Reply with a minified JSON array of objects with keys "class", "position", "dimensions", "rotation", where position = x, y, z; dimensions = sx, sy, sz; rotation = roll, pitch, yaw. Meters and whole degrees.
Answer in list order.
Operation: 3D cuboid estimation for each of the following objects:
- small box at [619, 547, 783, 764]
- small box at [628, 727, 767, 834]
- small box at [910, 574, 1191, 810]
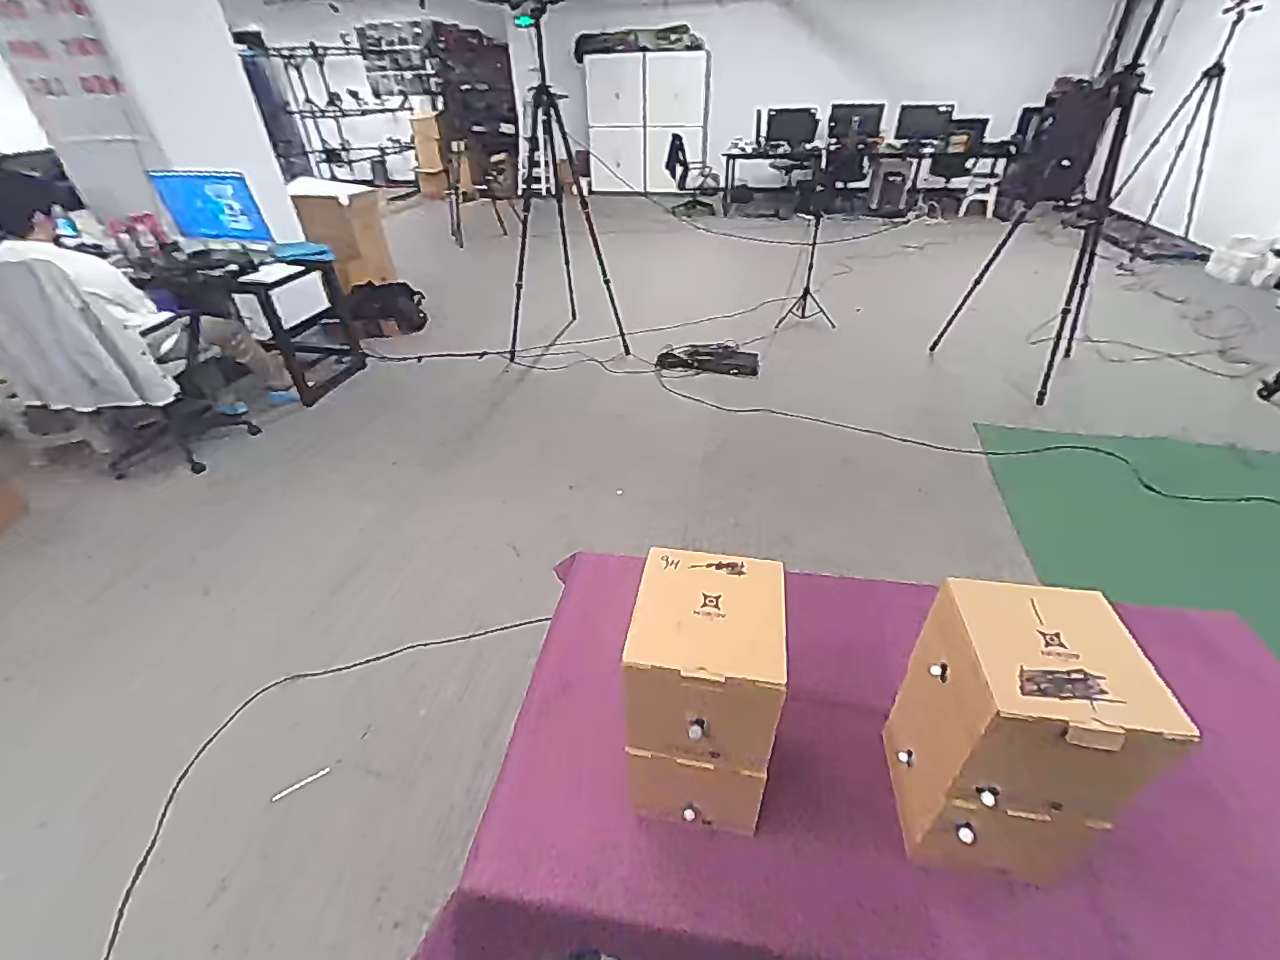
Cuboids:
[{"class":"small box","position":[0.077,0.207,0.645],"dimensions":[0.168,0.176,0.179],"rotation":[5,37,9]},{"class":"small box","position":[0.082,0.342,0.739],"dimensions":[0.168,0.176,0.179],"rotation":[4,36,10]},{"class":"small box","position":[0.420,0.230,0.596],"dimensions":[0.168,0.176,0.179],"rotation":[4,35,9]}]
